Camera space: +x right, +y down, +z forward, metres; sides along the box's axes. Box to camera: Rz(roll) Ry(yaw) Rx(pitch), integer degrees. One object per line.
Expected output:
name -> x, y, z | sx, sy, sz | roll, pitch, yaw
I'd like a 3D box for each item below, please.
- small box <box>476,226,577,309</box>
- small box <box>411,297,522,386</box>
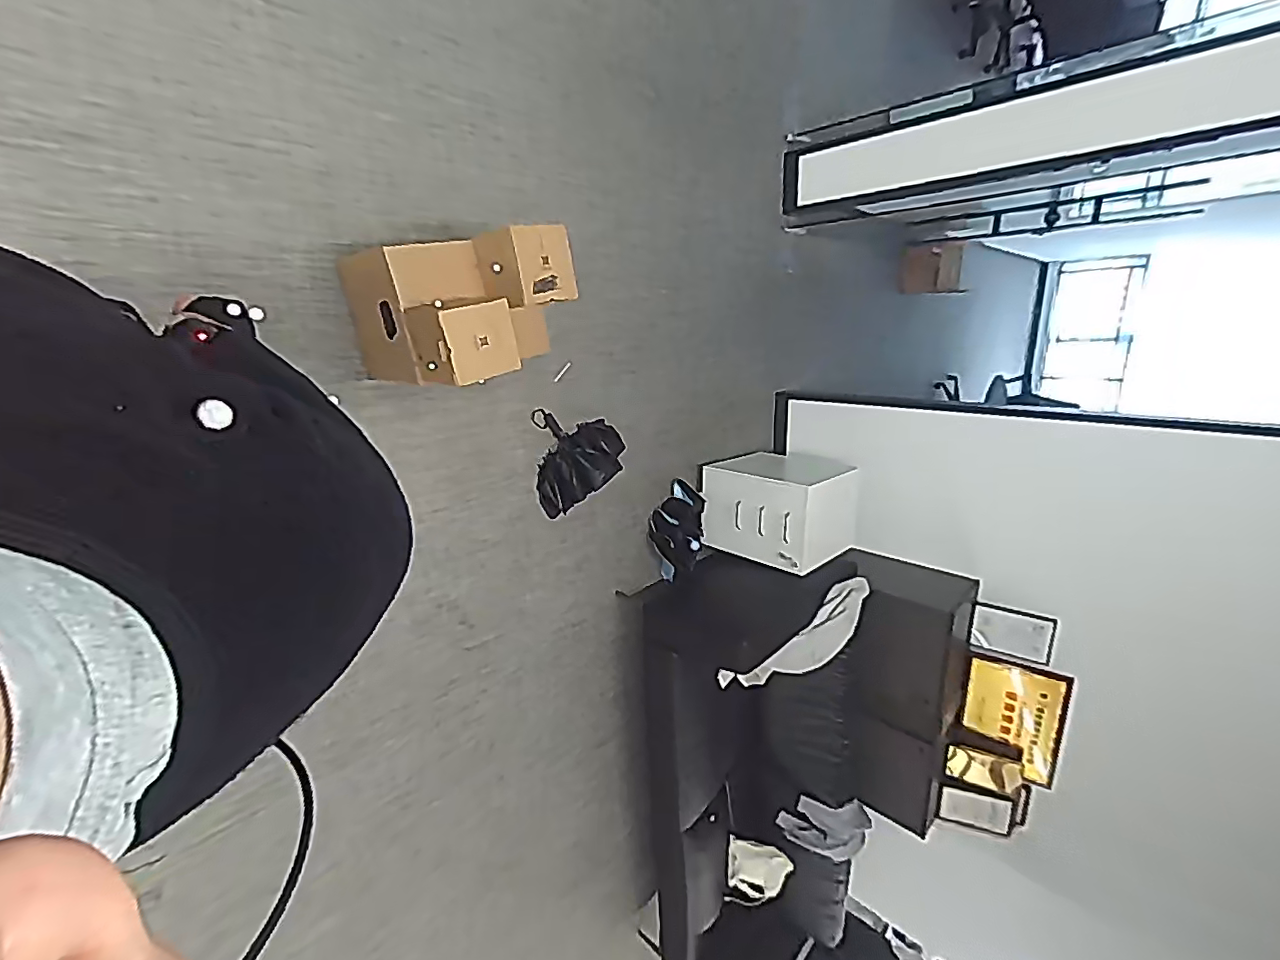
small box -> -0.283, -0.526, 1.350 | 0.168, 0.176, 0.179 | -25, 114, -41
small box -> -0.411, -0.327, 1.265 | 0.179, 0.176, 0.168 | -31, 124, -39
